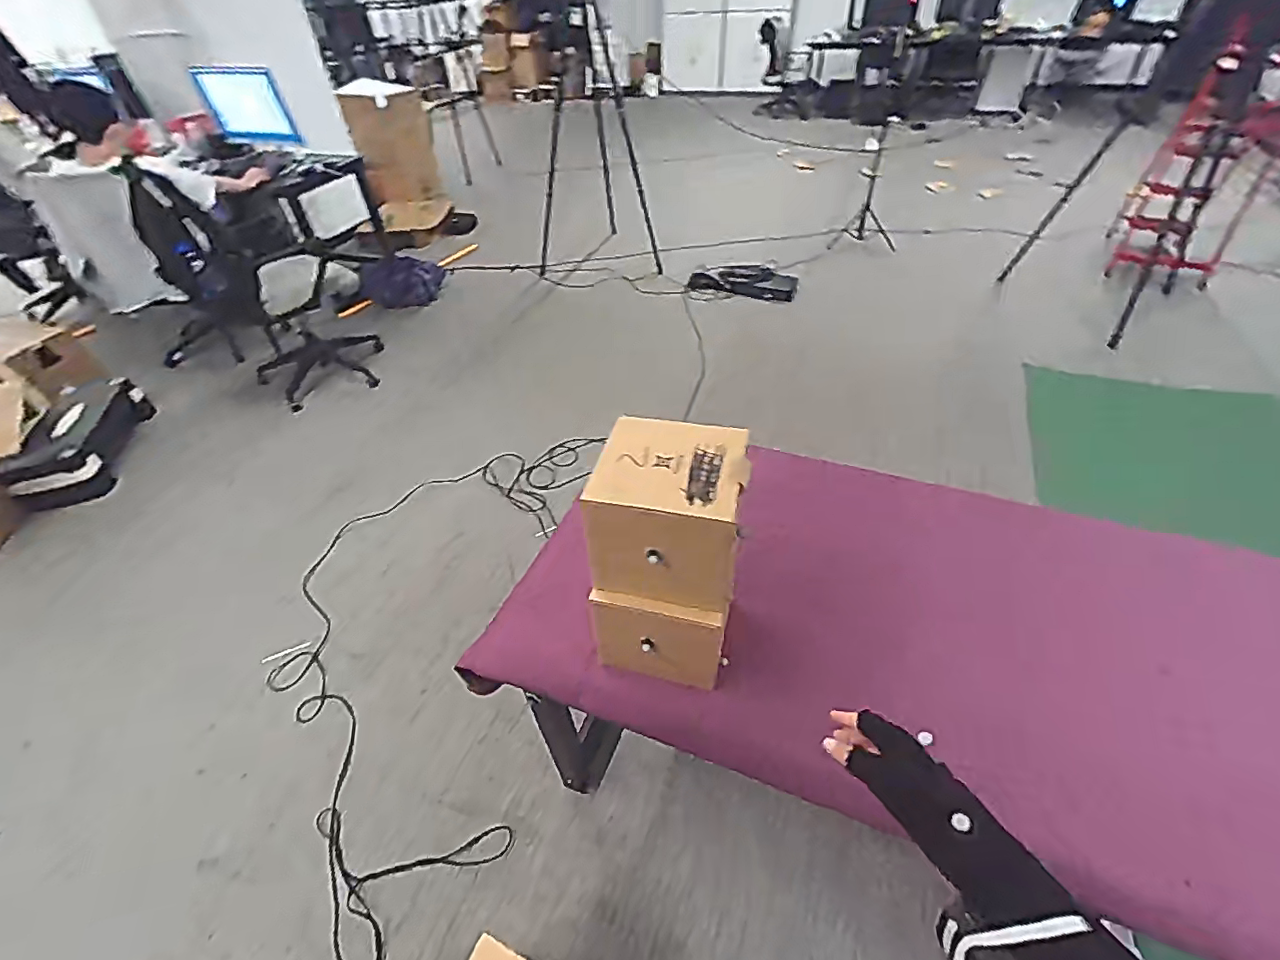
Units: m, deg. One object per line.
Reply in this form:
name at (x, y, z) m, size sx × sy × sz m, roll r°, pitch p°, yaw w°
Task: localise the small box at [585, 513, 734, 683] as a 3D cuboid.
small box at (0.034, 0.176, 0.801) m, size 0.179 × 0.176 × 0.168 m, roll 9°, pitch 44°, yaw 12°
